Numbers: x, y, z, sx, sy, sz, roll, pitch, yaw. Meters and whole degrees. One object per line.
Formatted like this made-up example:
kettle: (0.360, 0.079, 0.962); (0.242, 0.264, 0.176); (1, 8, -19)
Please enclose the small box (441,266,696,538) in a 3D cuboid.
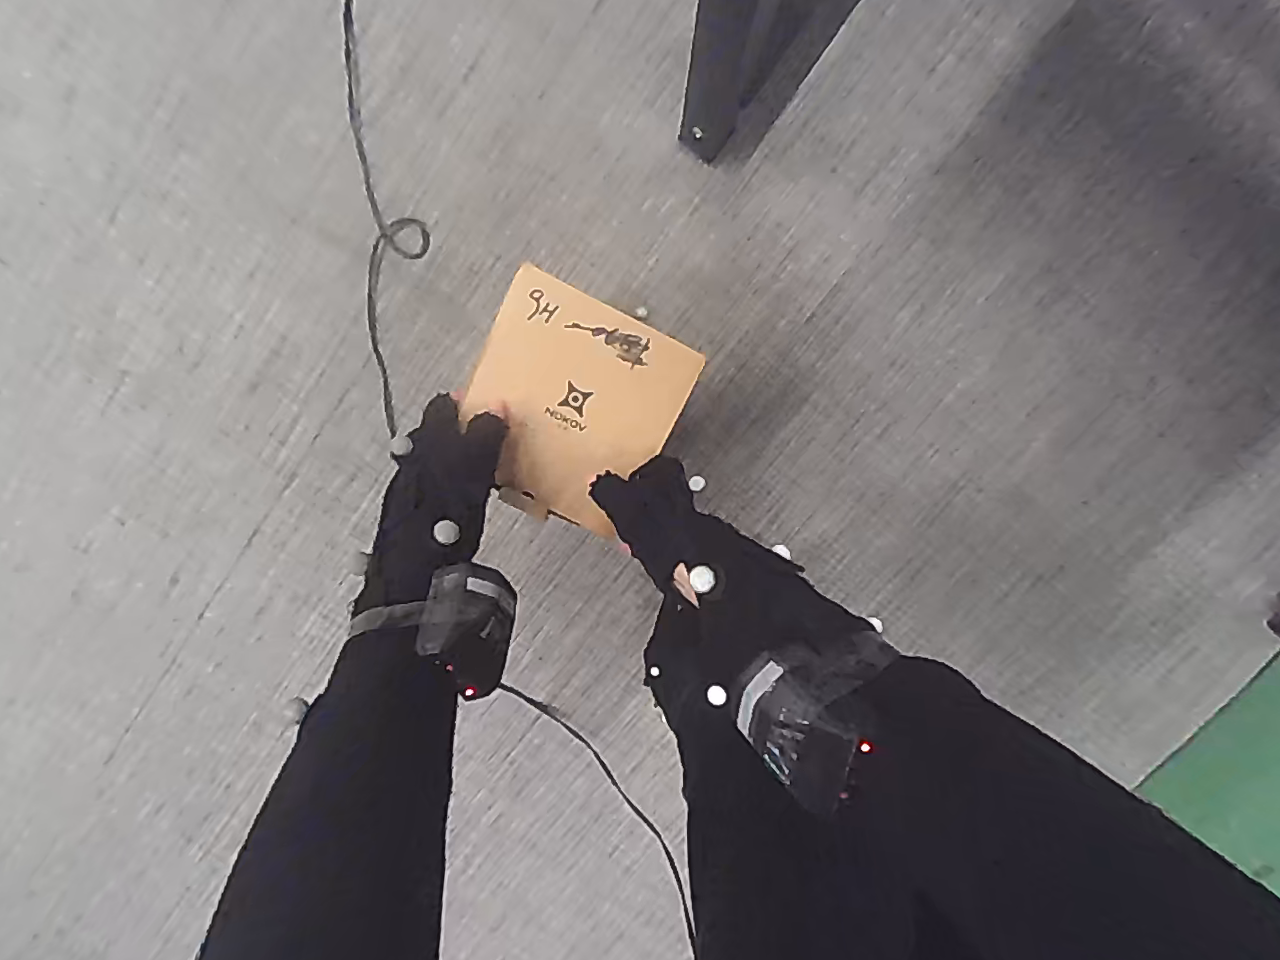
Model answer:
small box: (-0.057, -0.072, 0.521); (0.168, 0.176, 0.179); (24, 99, -2)
